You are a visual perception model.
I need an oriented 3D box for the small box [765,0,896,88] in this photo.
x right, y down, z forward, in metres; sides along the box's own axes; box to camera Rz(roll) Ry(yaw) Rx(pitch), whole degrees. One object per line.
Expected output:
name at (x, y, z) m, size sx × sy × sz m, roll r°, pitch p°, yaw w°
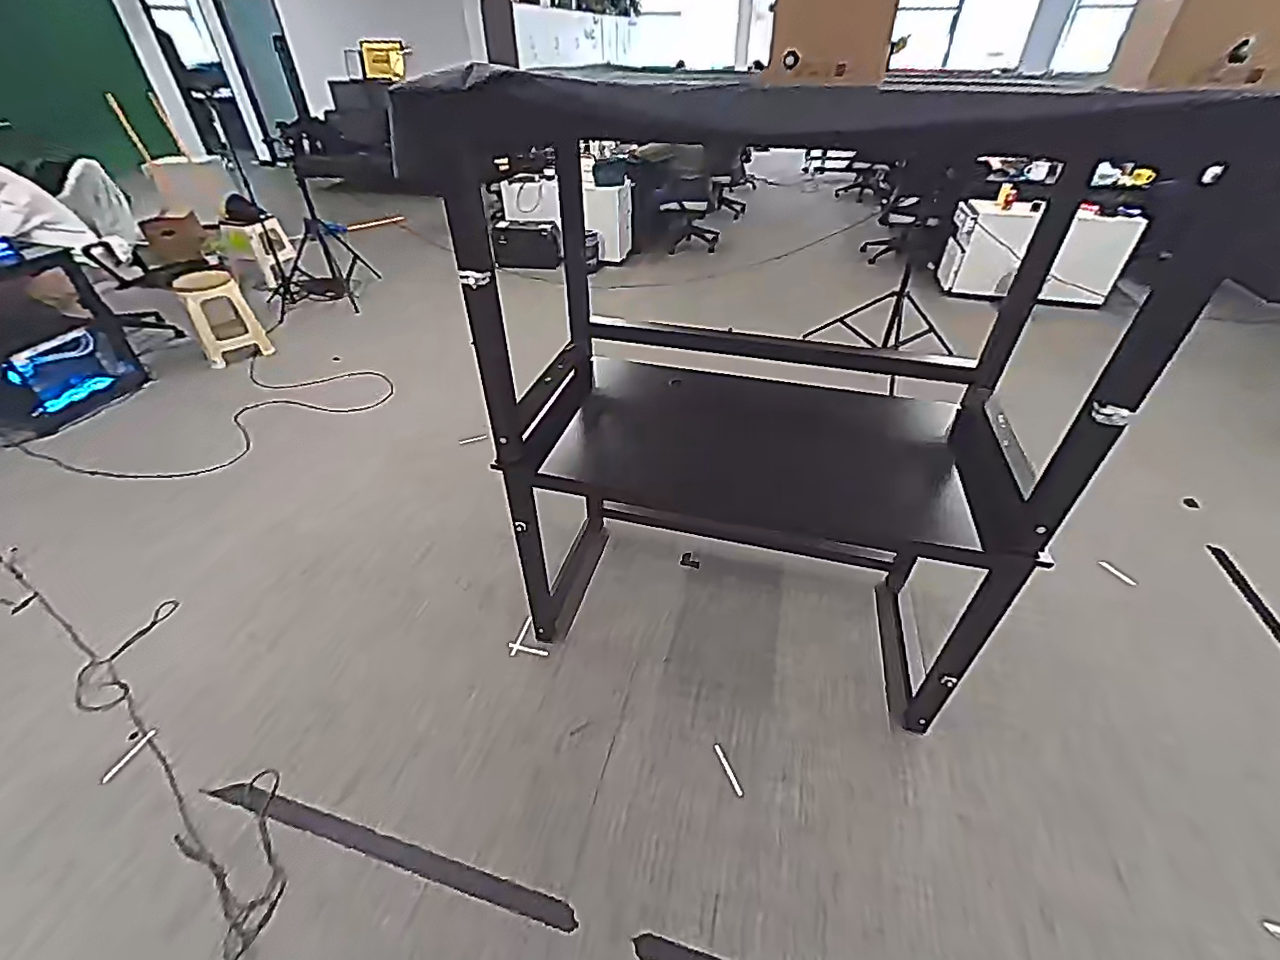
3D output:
small box at (0.282, -0.686, 0.798) m, size 0.168 × 0.176 × 0.179 m, roll 9°, pitch 38°, yaw 11°
